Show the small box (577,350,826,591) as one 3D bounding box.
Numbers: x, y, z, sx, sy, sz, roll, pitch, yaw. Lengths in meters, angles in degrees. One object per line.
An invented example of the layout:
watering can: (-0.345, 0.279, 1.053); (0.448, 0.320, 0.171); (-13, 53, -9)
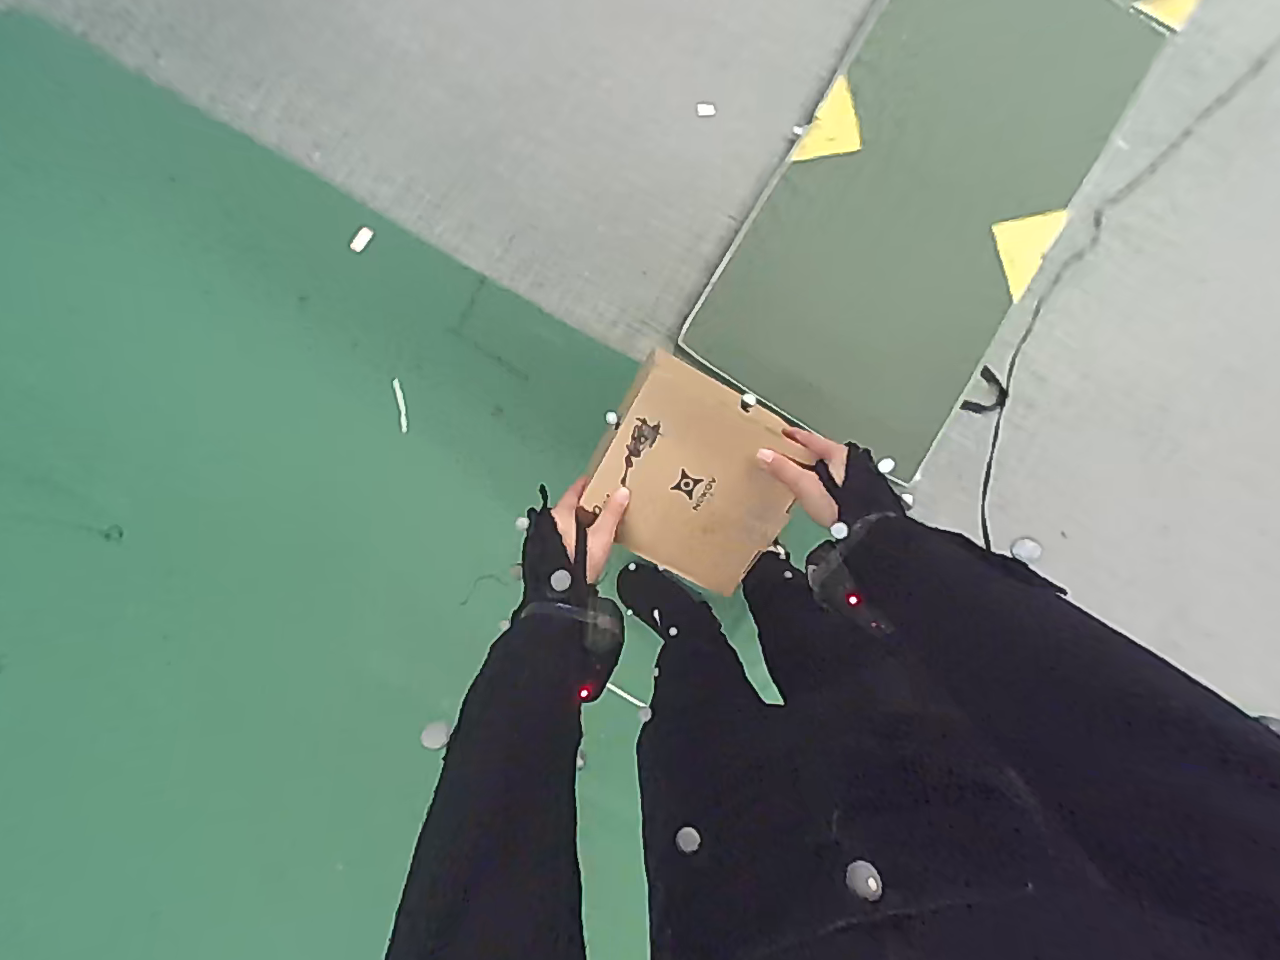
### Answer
small box: (0.055, -0.022, 0.570); (0.179, 0.176, 0.168); (30, 106, -10)
